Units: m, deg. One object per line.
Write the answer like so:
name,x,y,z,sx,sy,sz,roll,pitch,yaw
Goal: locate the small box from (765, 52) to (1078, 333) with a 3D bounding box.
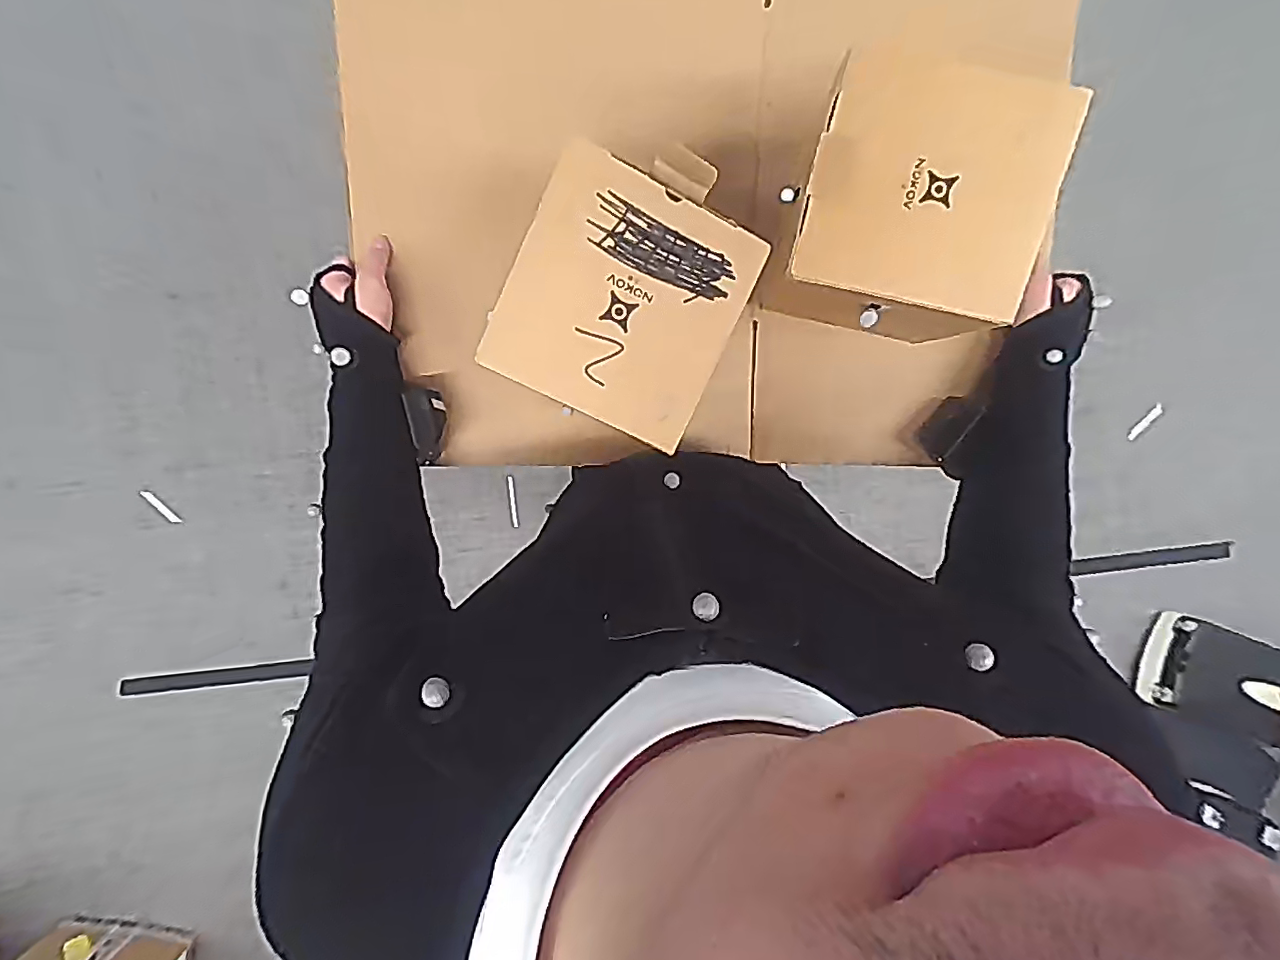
small box,0.227,-0.235,0.491,0.179,0.176,0.168,14,101,4
